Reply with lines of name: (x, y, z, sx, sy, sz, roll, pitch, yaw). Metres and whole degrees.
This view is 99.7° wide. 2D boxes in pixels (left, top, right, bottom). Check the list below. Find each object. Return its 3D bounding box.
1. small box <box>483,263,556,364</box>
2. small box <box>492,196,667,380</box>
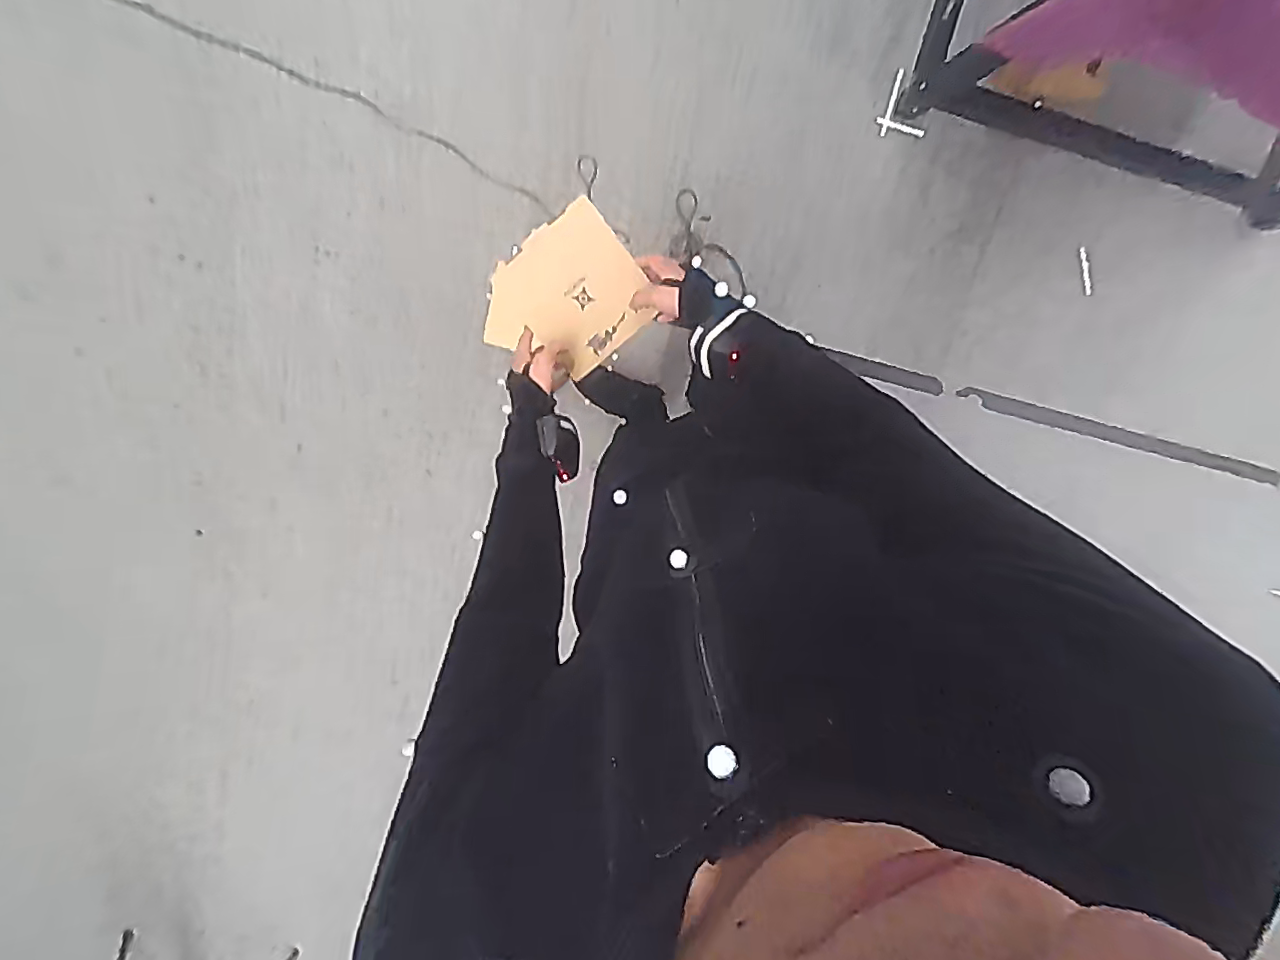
small box: (-0.248, -0.382, 1.244, 0.168, 0.176, 0.179, 14, 106, -9)
small box: (-0.084, -0.272, 0.787, 0.168, 0.176, 0.179, -38, 108, 9)
